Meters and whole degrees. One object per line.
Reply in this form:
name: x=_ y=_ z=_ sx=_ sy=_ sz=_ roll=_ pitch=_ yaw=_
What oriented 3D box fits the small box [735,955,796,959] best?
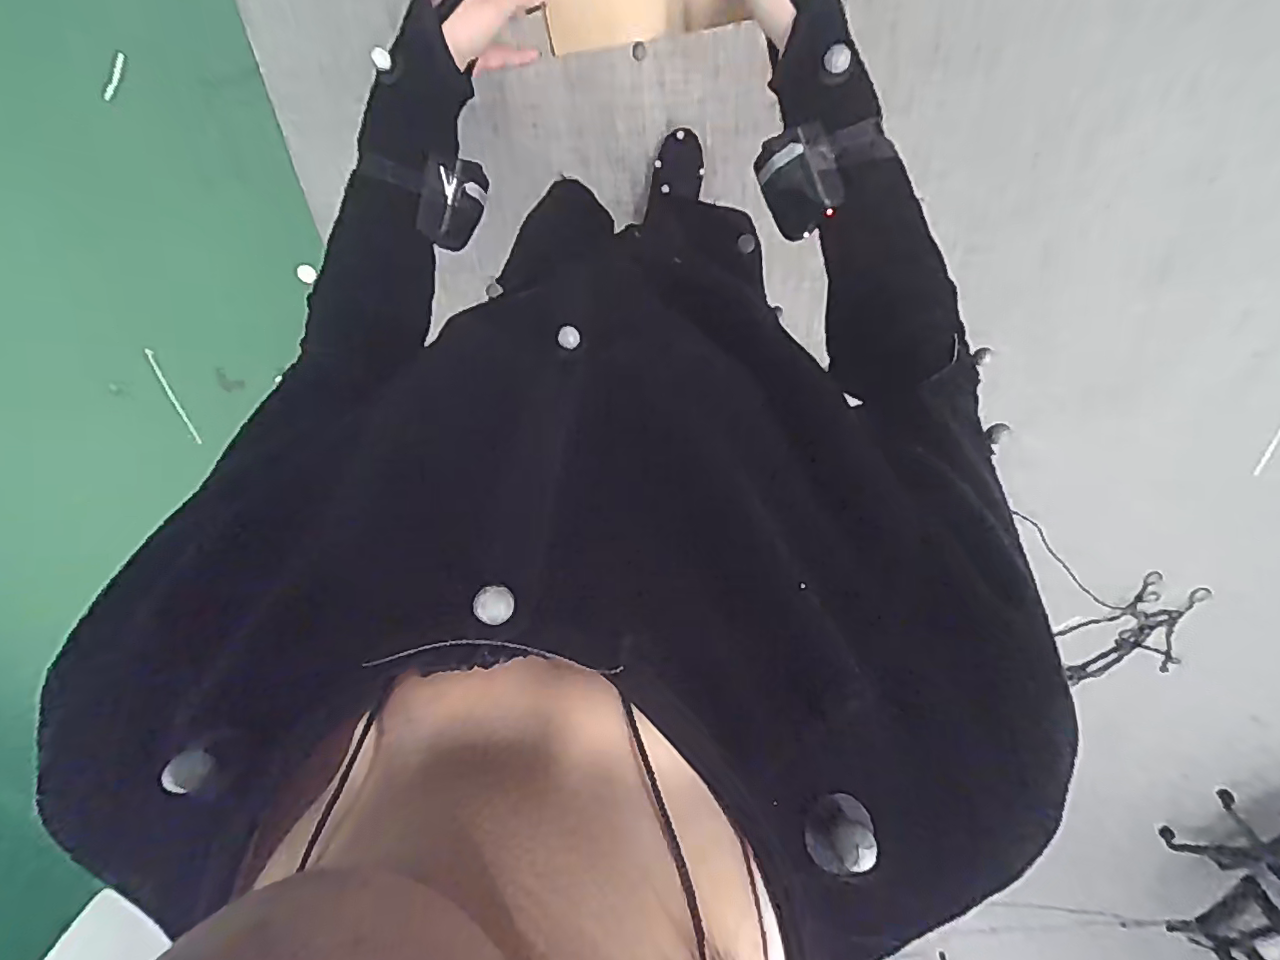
small box: x=0.330 y=1.364 z=1.398 sx=0.179 sy=0.176 sz=0.168 roll=-6 pitch=121 yaw=8

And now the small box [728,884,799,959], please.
small box: x=0.346 y=1.279 z=1.536 sx=0.179 sy=0.176 sz=0.168 roll=-4 pitch=122 yaw=8

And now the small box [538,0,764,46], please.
small box: x=-0.006 y=-0.467 z=0.437 sx=0.179 sy=0.176 sz=0.168 roll=-10 pitch=131 yaw=0
